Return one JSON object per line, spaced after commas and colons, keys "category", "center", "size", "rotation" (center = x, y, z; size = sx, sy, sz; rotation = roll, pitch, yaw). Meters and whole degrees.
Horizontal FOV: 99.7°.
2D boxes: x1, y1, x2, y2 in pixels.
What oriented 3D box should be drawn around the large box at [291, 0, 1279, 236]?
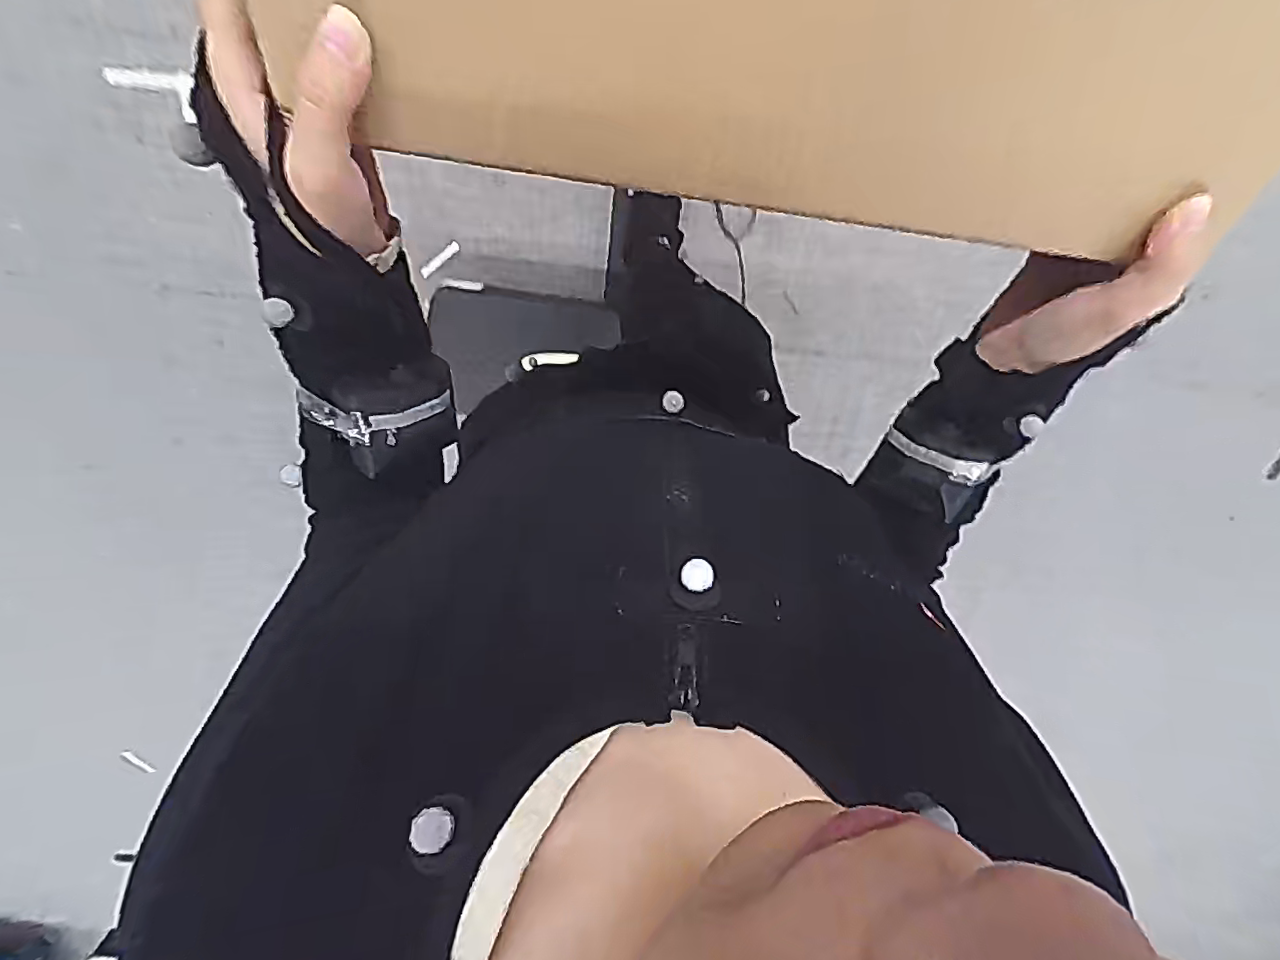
{"category": "large box", "center": [0.082, -0.341, 0.241], "size": [0.408, 0.320, 0.320], "rotation": [4, 134, -8]}
